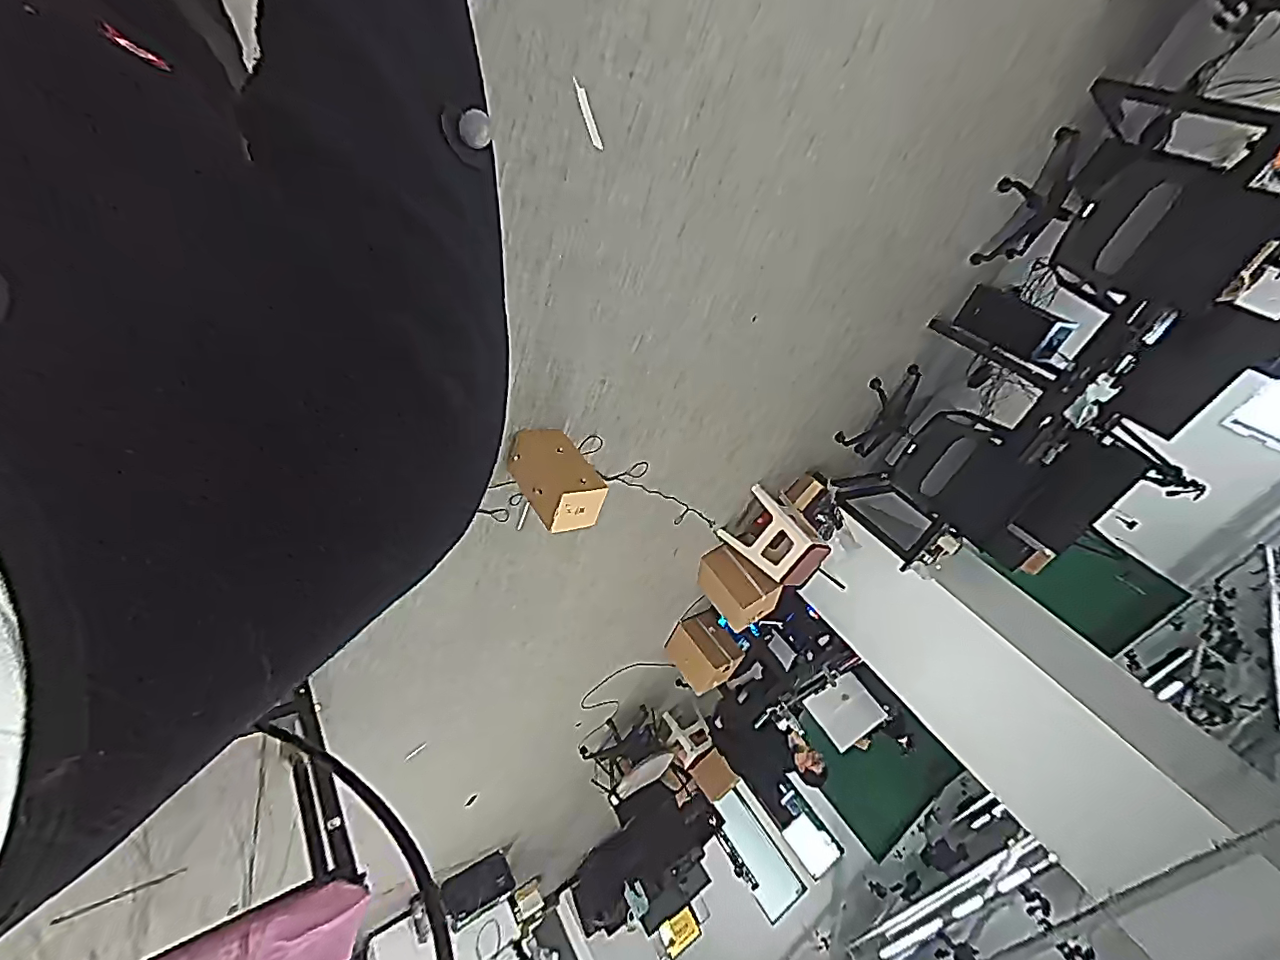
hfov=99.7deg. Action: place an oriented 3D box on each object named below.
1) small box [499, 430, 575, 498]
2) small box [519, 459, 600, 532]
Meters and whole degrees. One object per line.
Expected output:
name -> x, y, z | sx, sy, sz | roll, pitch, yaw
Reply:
small box -> -0.356, -0.060, 1.848 | 0.179, 0.176, 0.168 | -5, 131, -41
small box -> -0.265, 0.043, 1.756 | 0.179, 0.176, 0.168 | -7, 132, -40
